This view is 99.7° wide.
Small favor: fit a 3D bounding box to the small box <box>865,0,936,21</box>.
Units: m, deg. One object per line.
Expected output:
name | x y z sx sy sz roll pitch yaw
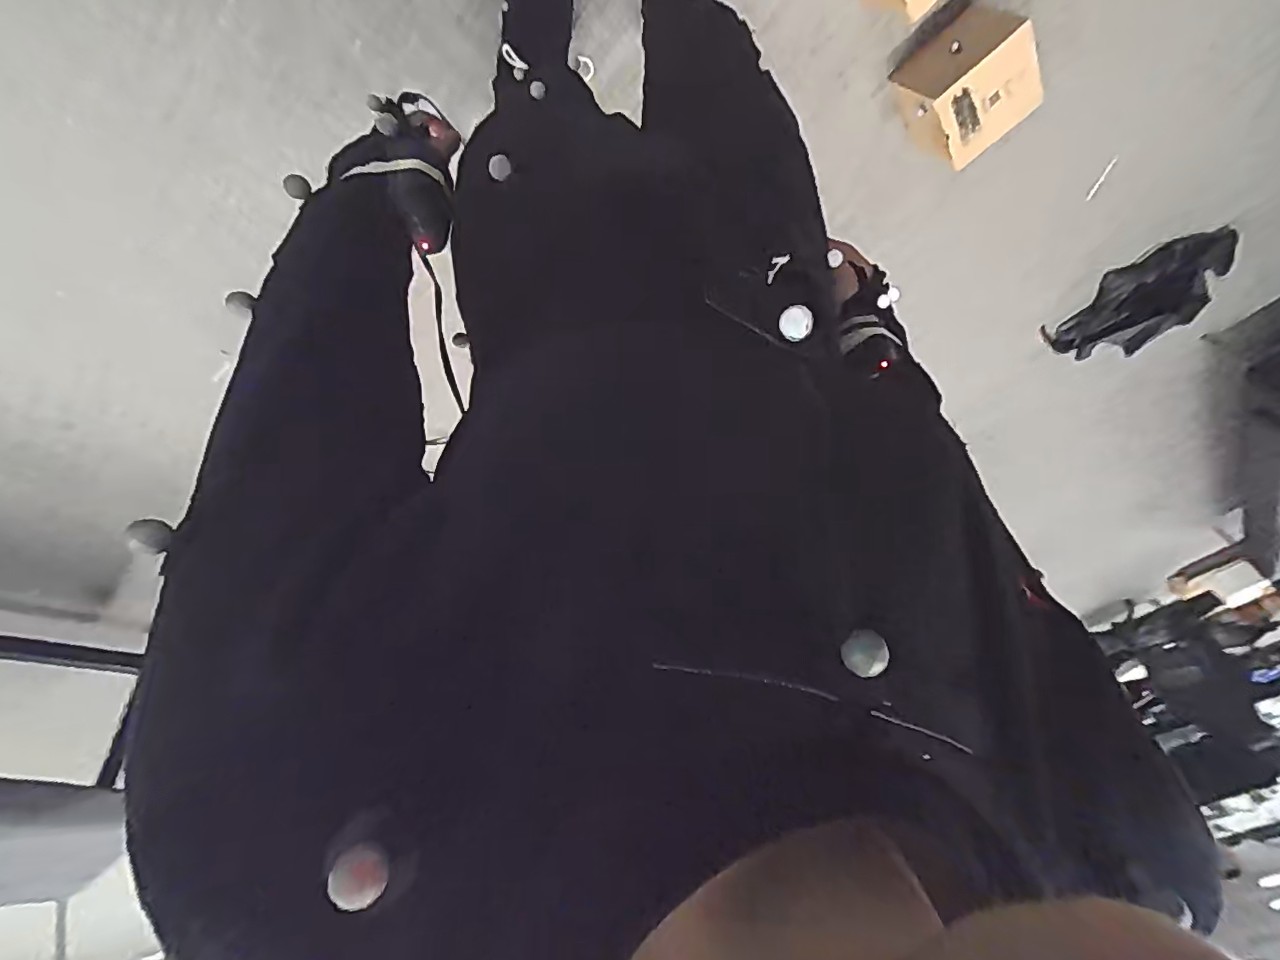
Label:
small box | 0.428 -0.873 0.831 0.179 0.176 0.168 -39 135 25
